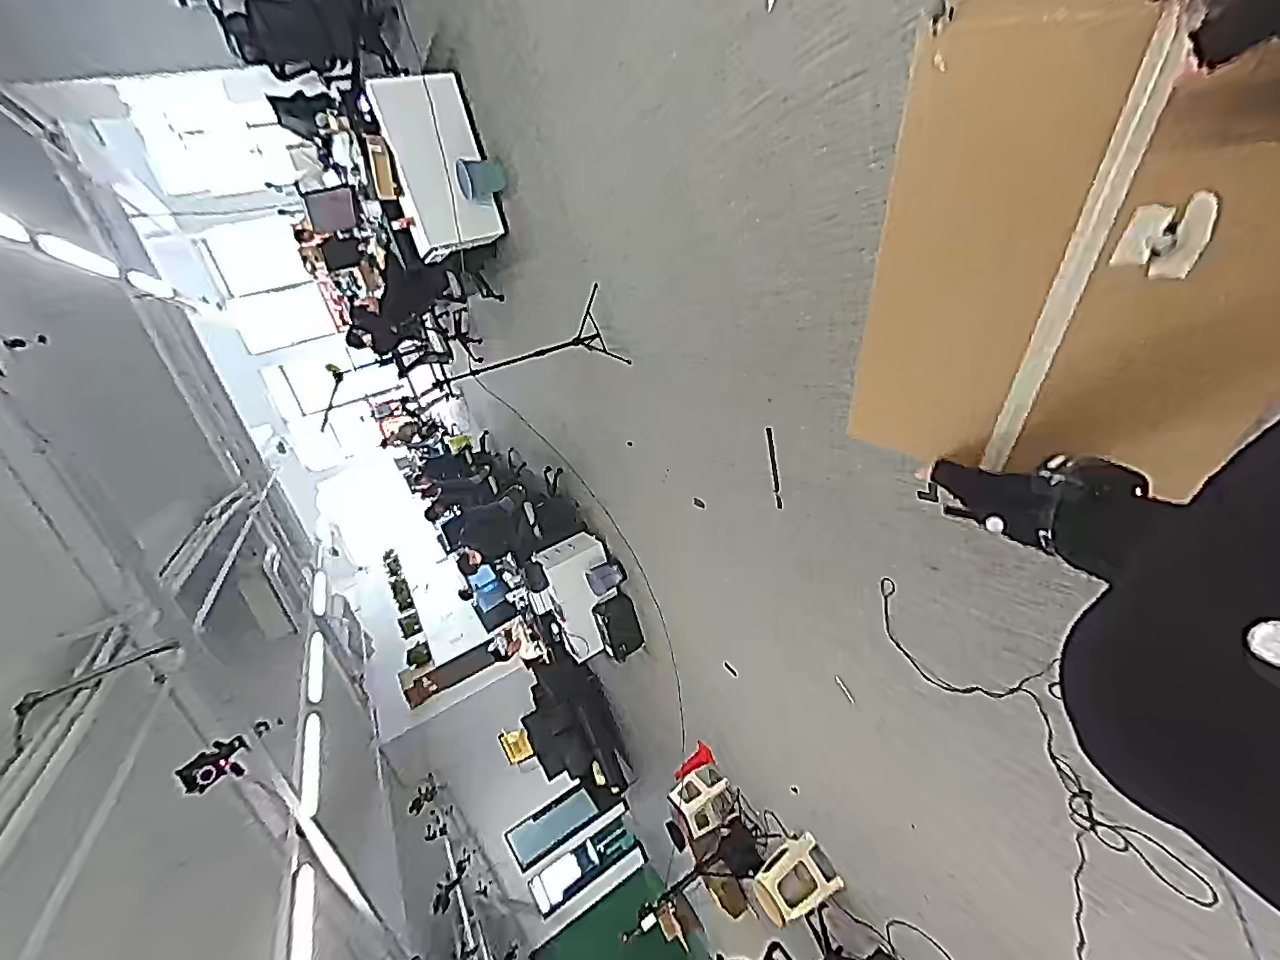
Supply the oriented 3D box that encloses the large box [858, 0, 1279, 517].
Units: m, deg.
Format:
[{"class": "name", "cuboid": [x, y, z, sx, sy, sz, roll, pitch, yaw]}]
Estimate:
[{"class": "large box", "cuboid": [0.454, -0.246, 0.543, 0.320, 0.320, 0.408, 23, 141, 32]}]
